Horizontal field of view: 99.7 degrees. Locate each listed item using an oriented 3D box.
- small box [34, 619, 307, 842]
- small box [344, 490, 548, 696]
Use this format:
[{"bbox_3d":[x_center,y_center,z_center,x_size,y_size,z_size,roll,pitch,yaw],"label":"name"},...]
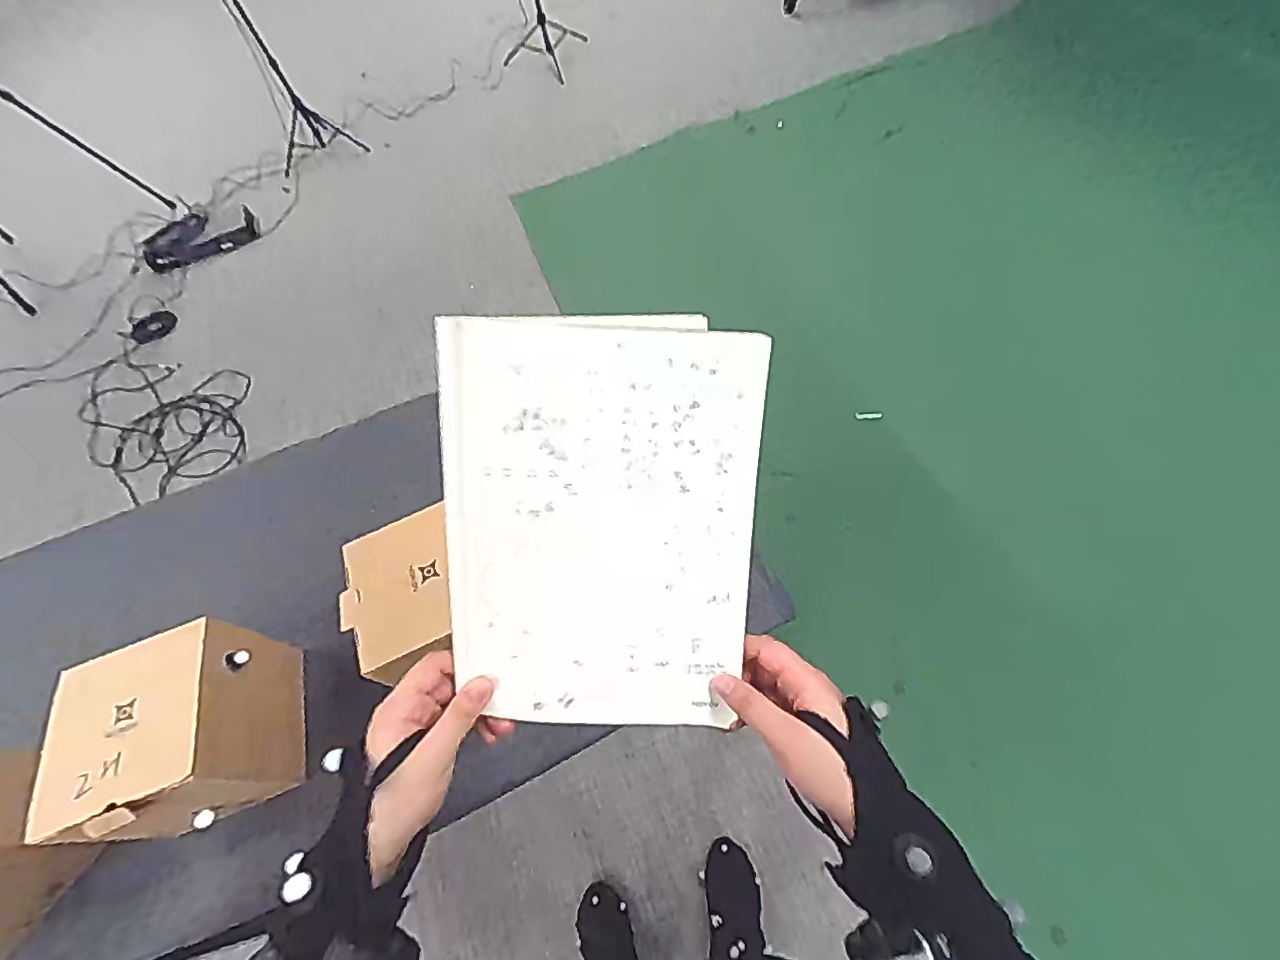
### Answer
[{"bbox_3d":[-0.523,0.294,0.635,0.168,0.176,0.179,-22,59,-3],"label":"small box"},{"bbox_3d":[-0.229,0.146,0.675,0.179,0.176,0.168,-26,59,-5],"label":"small box"}]
